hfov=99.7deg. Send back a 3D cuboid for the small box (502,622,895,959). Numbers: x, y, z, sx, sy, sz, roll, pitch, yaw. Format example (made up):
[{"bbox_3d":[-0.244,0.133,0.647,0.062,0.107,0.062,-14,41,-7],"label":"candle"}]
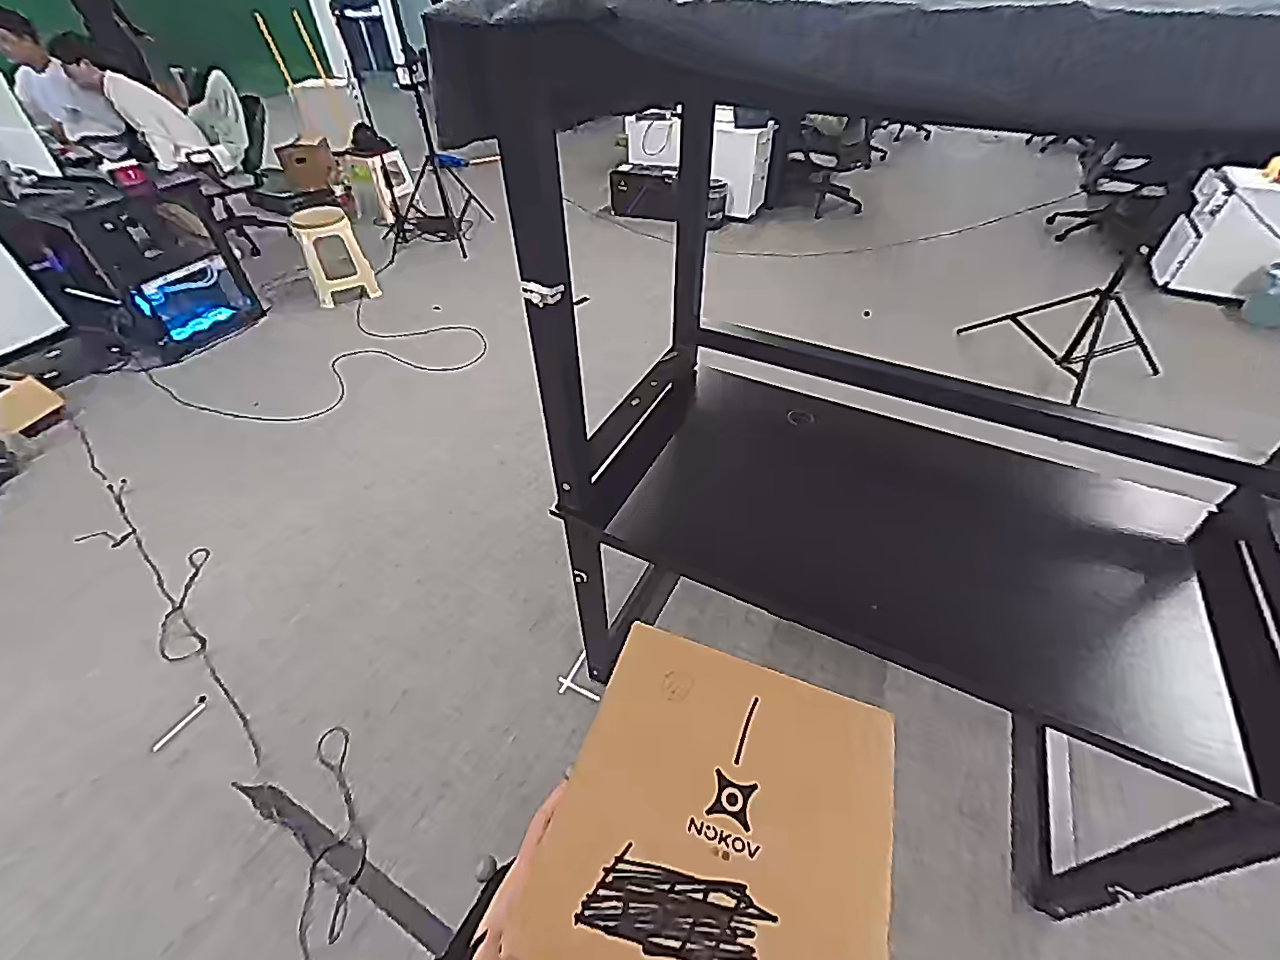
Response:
[{"bbox_3d":[0.039,0.227,0.333,0.168,0.176,0.179,17,46,11],"label":"small box"}]
